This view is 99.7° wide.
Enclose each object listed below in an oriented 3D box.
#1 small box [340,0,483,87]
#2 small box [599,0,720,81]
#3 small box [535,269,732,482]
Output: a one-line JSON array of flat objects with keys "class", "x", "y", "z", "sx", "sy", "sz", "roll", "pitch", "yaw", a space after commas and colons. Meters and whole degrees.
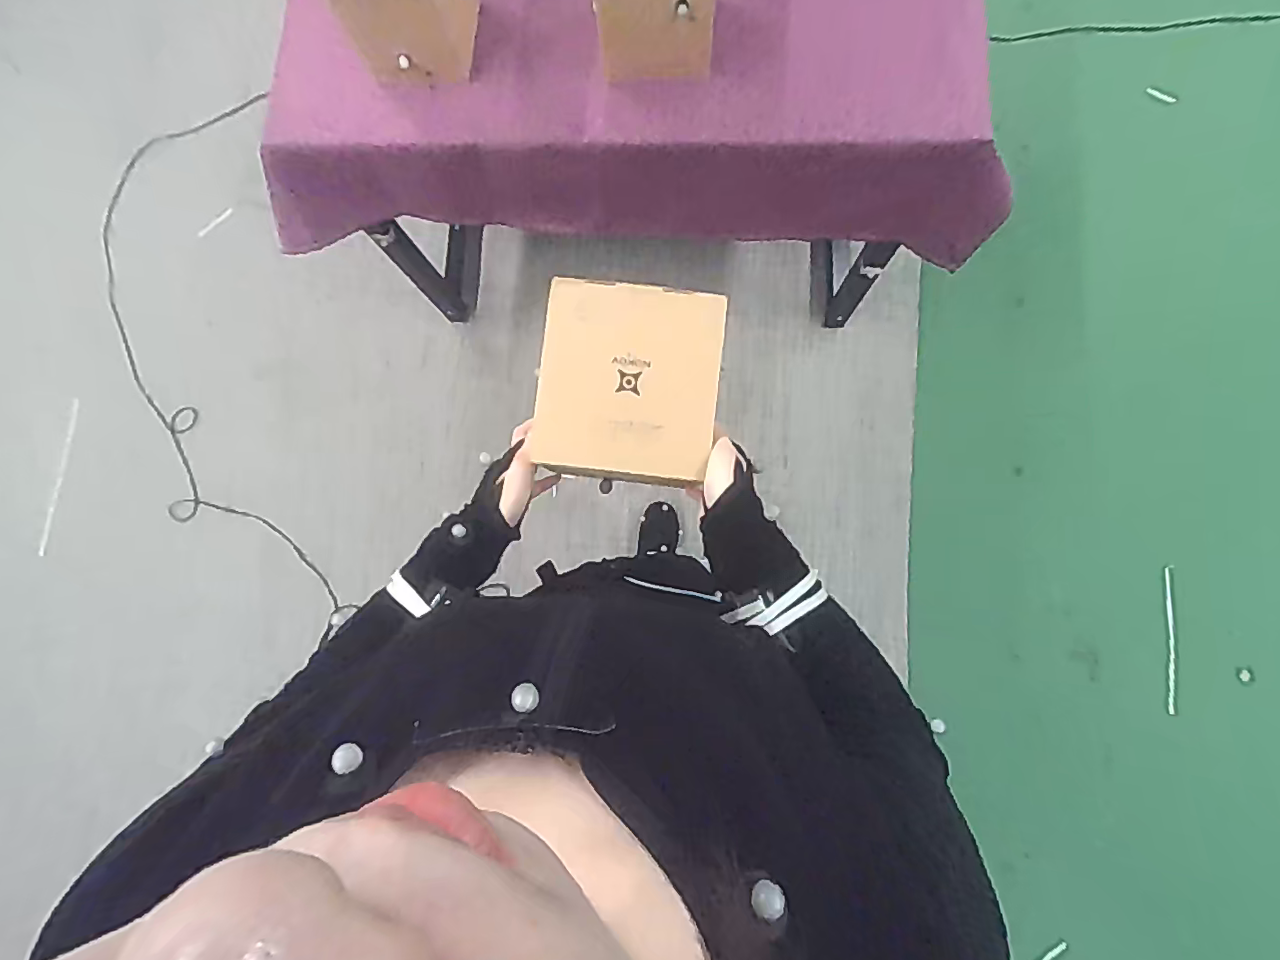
[{"class": "small box", "x": -0.362, "y": -0.776, "z": 0.861, "sx": 0.168, "sy": 0.176, "sz": 0.179, "roll": 4, "pitch": 82, "yaw": 4}, {"class": "small box", "x": 0.035, "y": -0.753, "z": 0.831, "sx": 0.179, "sy": 0.176, "sz": 0.168, "roll": 2, "pitch": 81, "yaw": 4}, {"class": "small box", "x": -0.005, "y": -0.097, "z": 0.577, "sx": 0.168, "sy": 0.176, "sz": 0.179, "roll": 7, "pitch": 88, "yaw": 1}]
